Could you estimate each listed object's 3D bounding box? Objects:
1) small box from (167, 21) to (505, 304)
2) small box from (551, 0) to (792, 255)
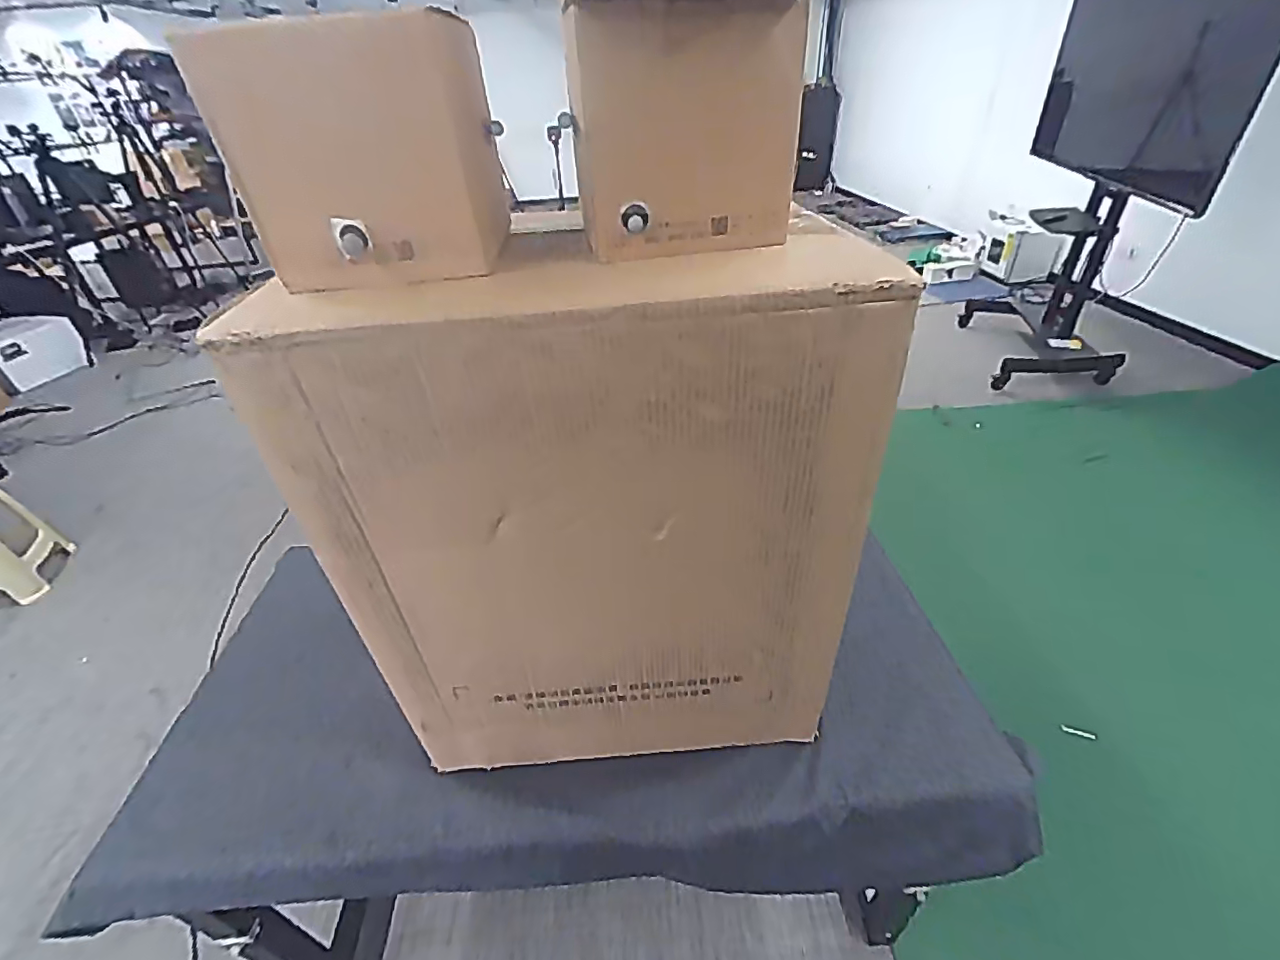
[{"bbox_3d":[-0.218,-0.265,0.454,0.168,0.176,0.179,-8,40,-1],"label":"small box"},{"bbox_3d":[0.020,-0.305,0.473,0.168,0.176,0.179,-9,37,-5],"label":"small box"}]
